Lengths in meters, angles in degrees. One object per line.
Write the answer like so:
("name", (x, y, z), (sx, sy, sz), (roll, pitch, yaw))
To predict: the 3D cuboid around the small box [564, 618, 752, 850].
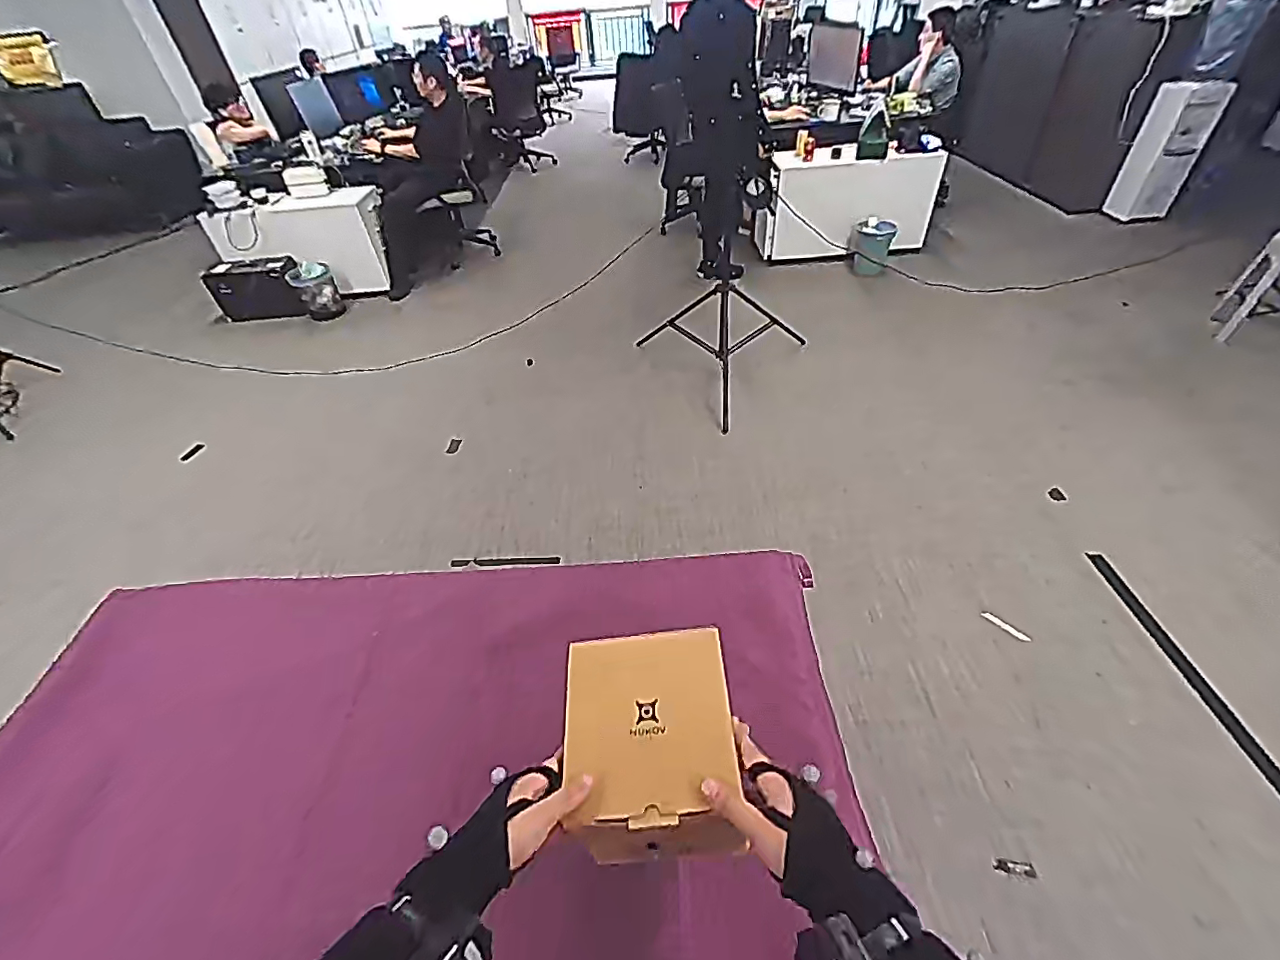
("small box", (0.022, 0.273, 0.579), (0.168, 0.176, 0.179), (-9, 47, 4))
